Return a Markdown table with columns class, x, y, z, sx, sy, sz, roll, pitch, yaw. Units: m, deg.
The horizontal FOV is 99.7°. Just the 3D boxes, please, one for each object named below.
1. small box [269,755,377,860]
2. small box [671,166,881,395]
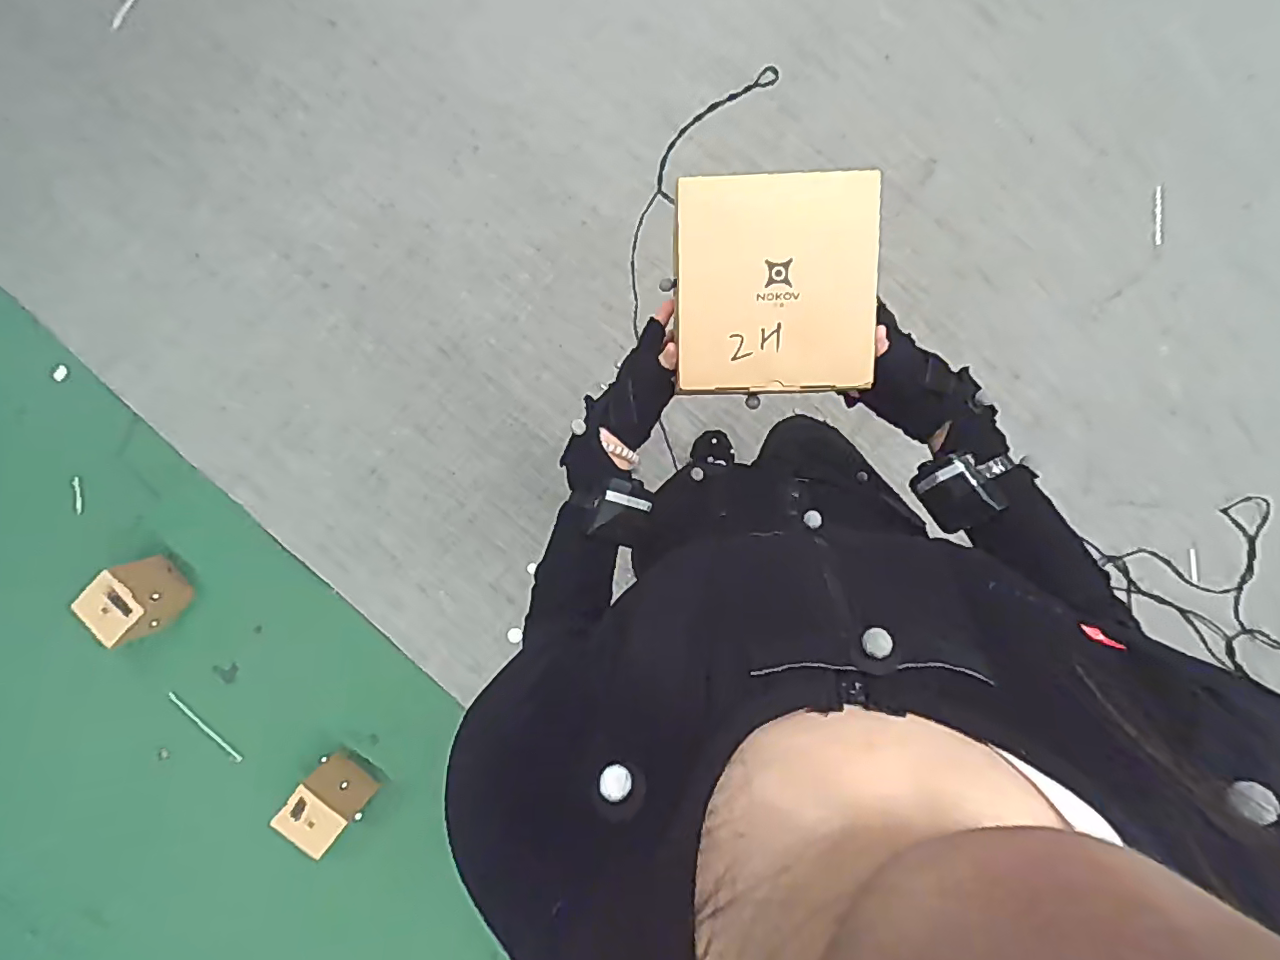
| class | x | y | z | sx | sy | sz | roll | pitch | yaw |
| --- | --- | --- | --- | --- | --- | --- | --- | --- | --- |
| small box | -0.928 | 0.953 | 1.596 | 0.179 | 0.176 | 0.168 | 39 | 98 | -1 |
| small box | 0.114 | -0.174 | 0.522 | 0.168 | 0.176 | 0.179 | 0 | 98 | 3 |
